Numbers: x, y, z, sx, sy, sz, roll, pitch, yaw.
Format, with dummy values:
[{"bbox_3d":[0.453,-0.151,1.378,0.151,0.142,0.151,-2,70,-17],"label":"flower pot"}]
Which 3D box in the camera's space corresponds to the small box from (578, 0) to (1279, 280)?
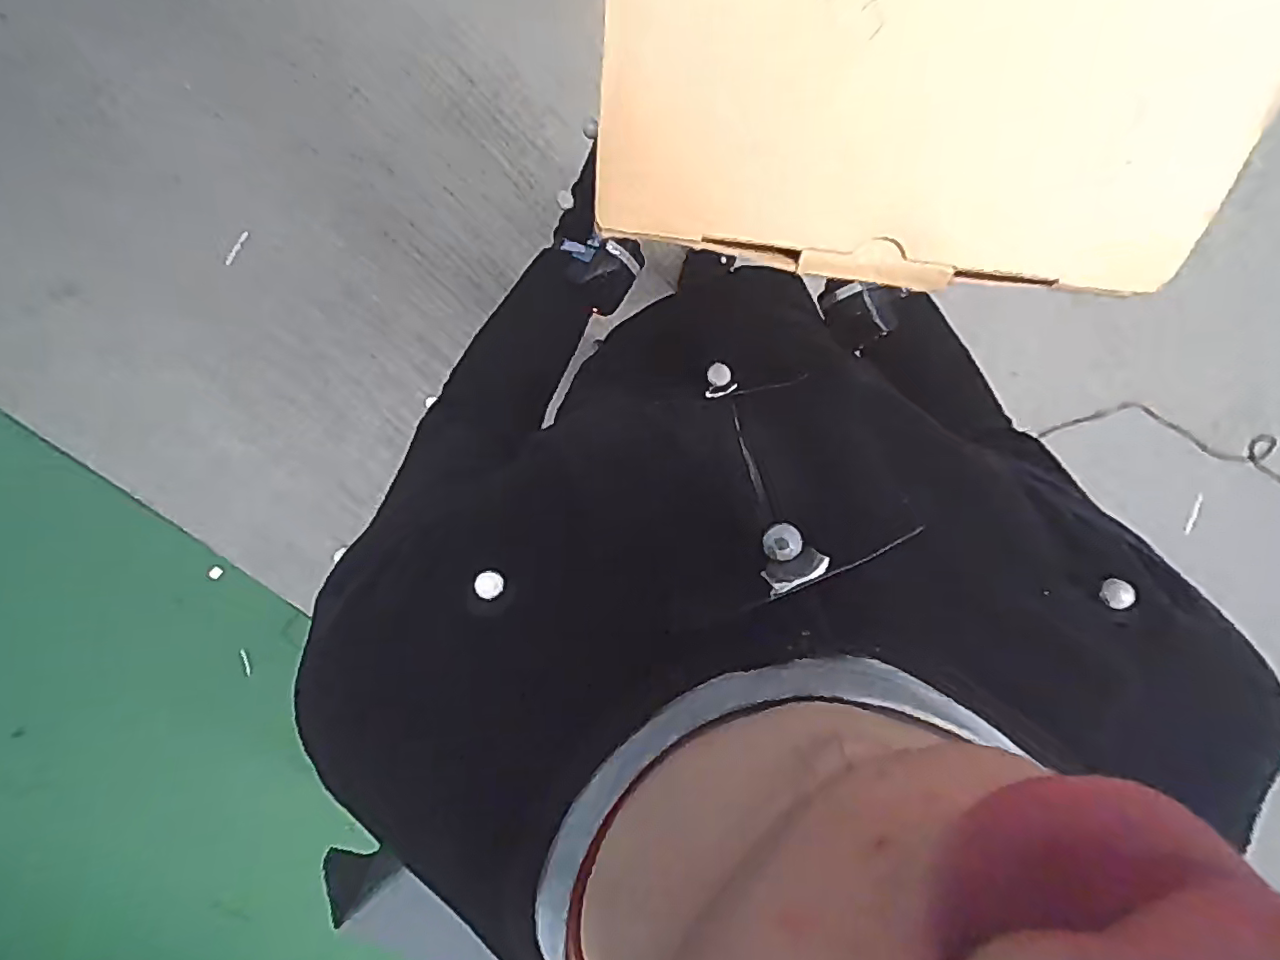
[{"bbox_3d":[0.076,-0.180,0.168,0.168,0.176,0.179,5,124,-2],"label":"small box"}]
